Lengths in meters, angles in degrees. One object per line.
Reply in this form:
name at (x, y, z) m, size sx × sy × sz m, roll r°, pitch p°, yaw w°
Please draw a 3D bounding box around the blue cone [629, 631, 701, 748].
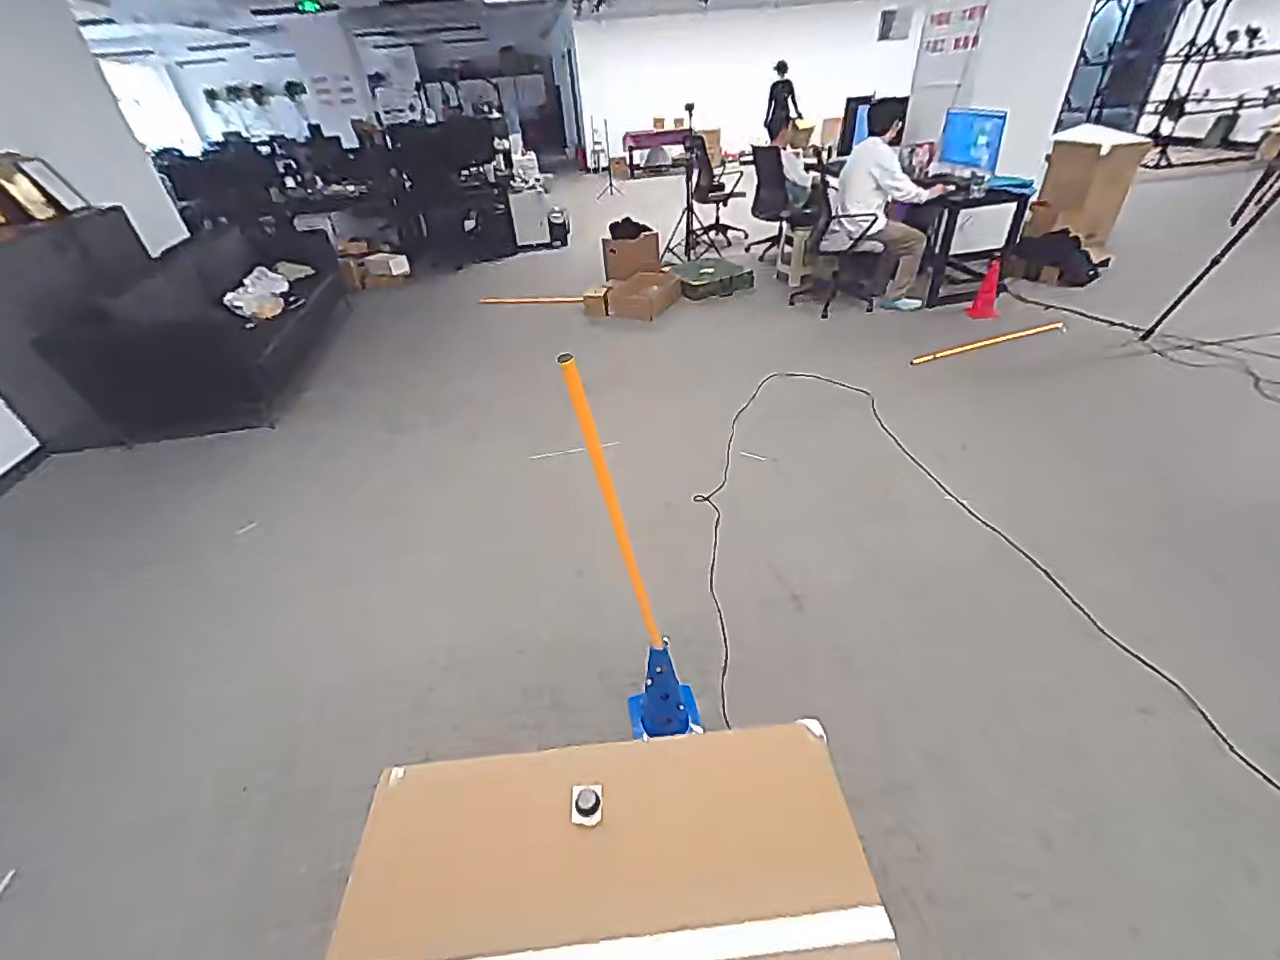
blue cone at (0.056, 0.555, 1.492) m, size 0.193 × 0.380 × 0.192 m, roll -12°, pitch 37°, yaw -7°
